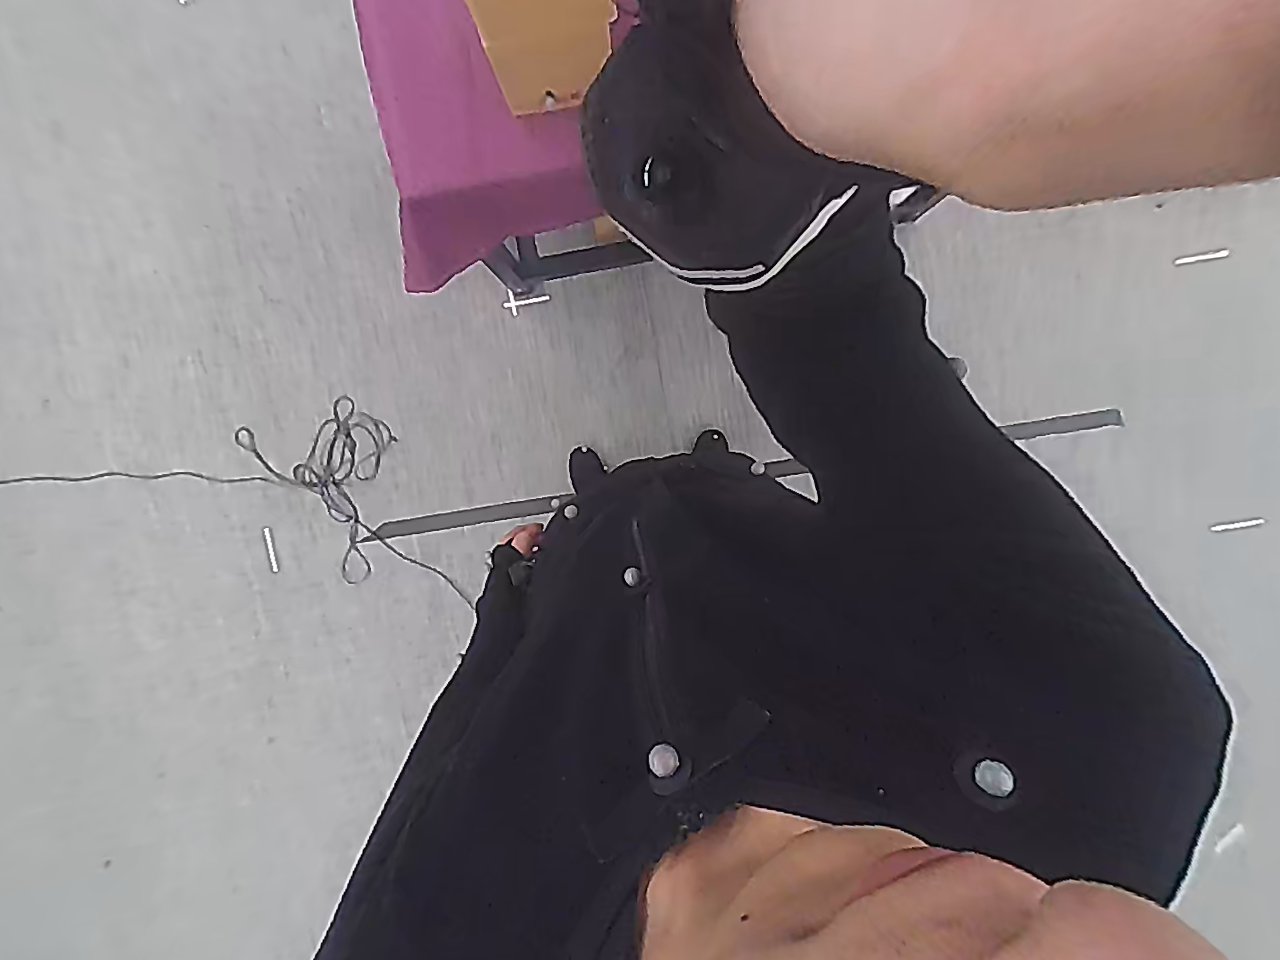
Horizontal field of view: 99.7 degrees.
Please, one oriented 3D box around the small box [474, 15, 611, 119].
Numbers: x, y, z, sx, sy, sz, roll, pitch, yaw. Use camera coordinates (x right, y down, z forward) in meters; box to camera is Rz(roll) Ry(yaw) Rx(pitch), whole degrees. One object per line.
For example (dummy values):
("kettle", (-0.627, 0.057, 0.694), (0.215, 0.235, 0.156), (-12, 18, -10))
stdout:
("small box", (-0.137, -0.648, 0.749), (0.168, 0.176, 0.179), (-9, 96, 2))
